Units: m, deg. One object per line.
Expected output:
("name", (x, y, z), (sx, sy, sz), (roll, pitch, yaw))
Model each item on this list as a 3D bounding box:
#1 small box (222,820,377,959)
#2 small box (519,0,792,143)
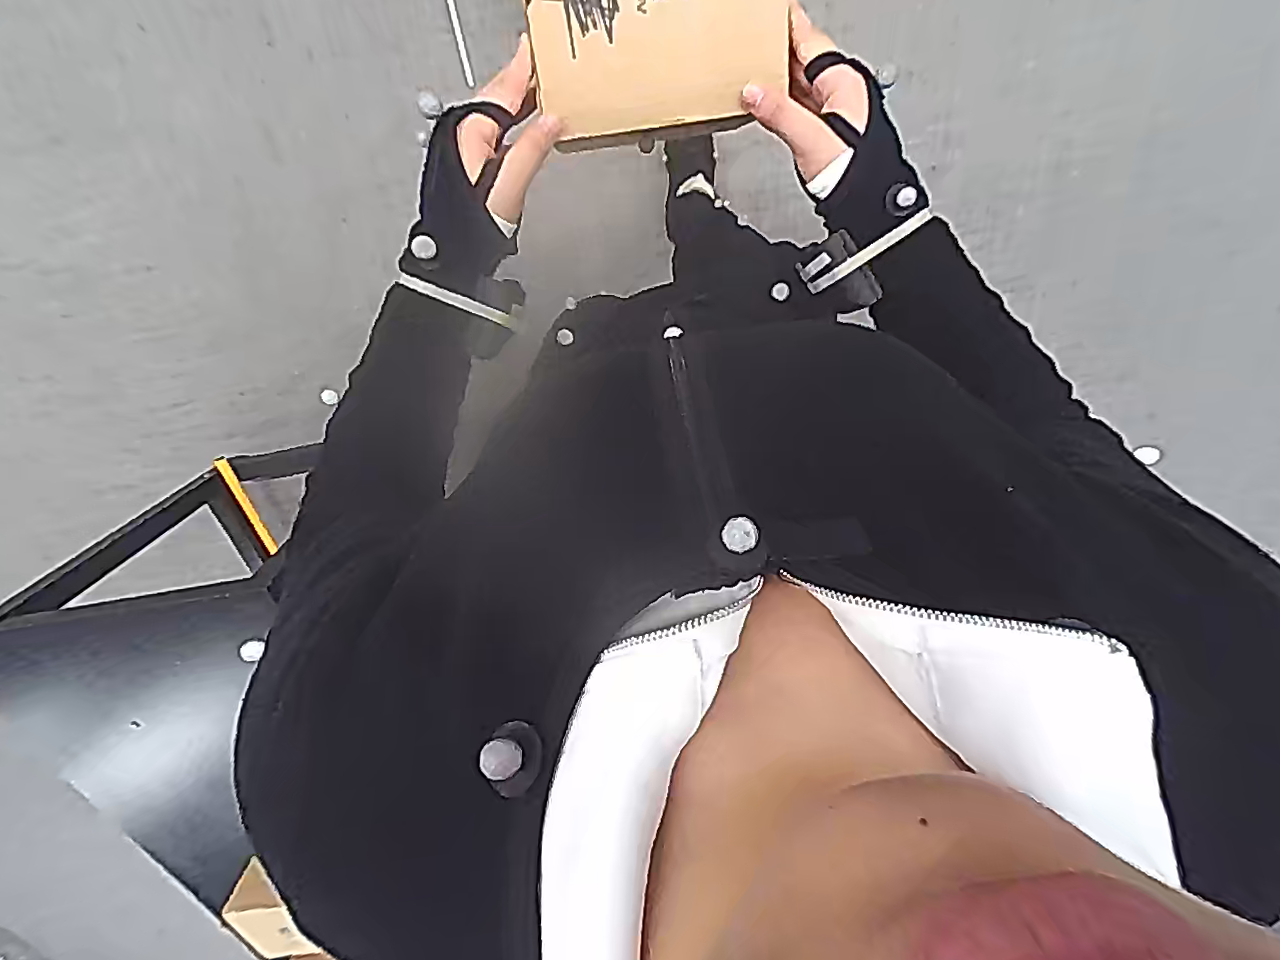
("small box", (-0.659, 0.802, 1.072), (0.168, 0.176, 0.179), (-8, 118, 4))
("small box", (0.004, -0.362, 0.404), (0.179, 0.176, 0.168), (-8, 119, 0))
